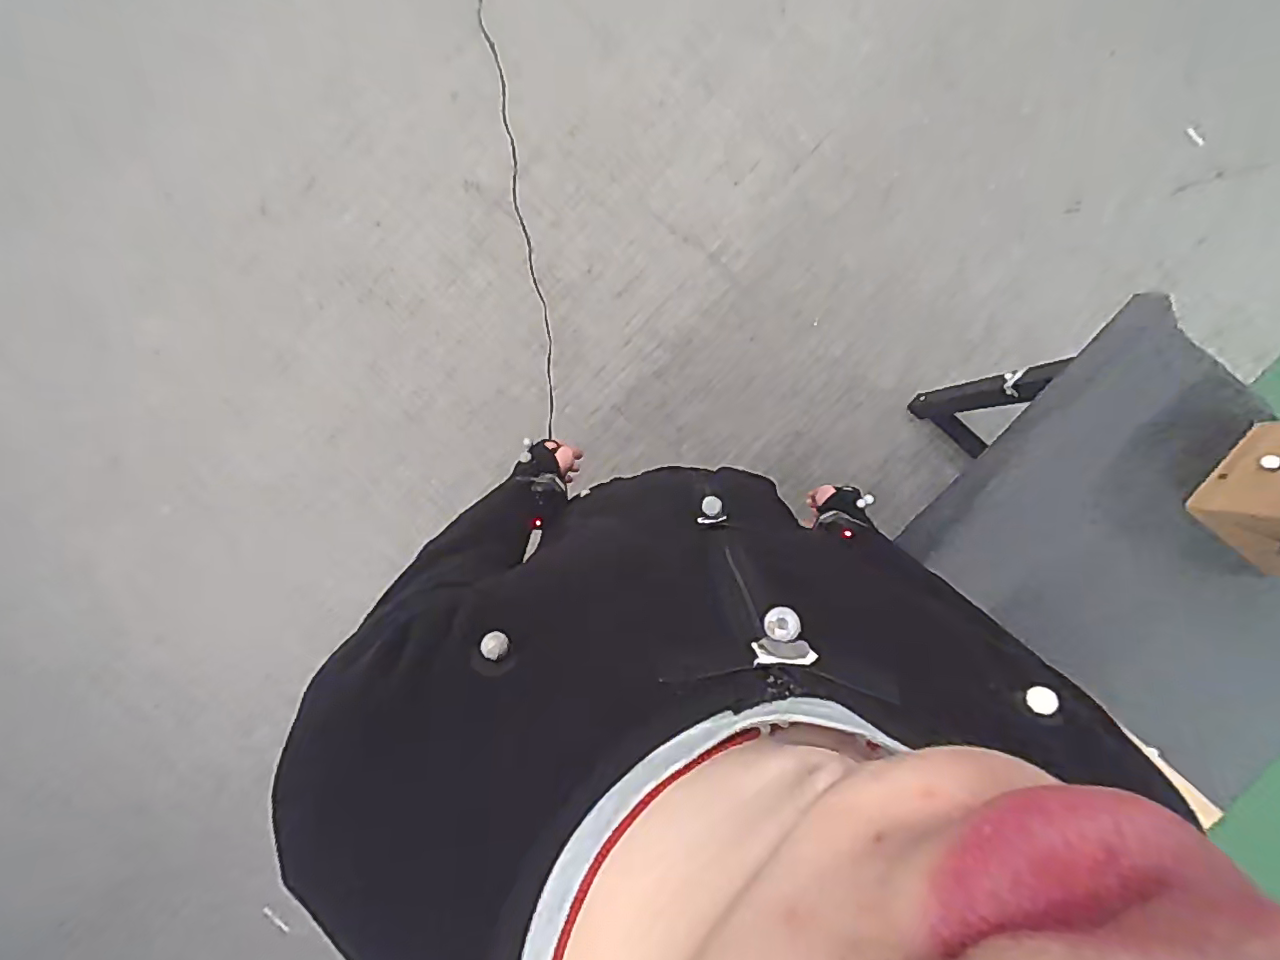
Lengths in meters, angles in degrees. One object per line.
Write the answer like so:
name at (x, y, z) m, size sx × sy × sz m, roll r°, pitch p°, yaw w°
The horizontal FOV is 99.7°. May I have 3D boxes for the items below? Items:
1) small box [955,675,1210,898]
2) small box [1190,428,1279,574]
small box at (0.597, 0.410, 0.756) m, size 0.179 × 0.176 × 0.168 m, roll 42°, pitch 93°, yaw 0°
small box at (0.928, 0.035, 0.729) m, size 0.179 × 0.176 × 0.168 m, roll 40°, pitch 94°, yaw -1°
